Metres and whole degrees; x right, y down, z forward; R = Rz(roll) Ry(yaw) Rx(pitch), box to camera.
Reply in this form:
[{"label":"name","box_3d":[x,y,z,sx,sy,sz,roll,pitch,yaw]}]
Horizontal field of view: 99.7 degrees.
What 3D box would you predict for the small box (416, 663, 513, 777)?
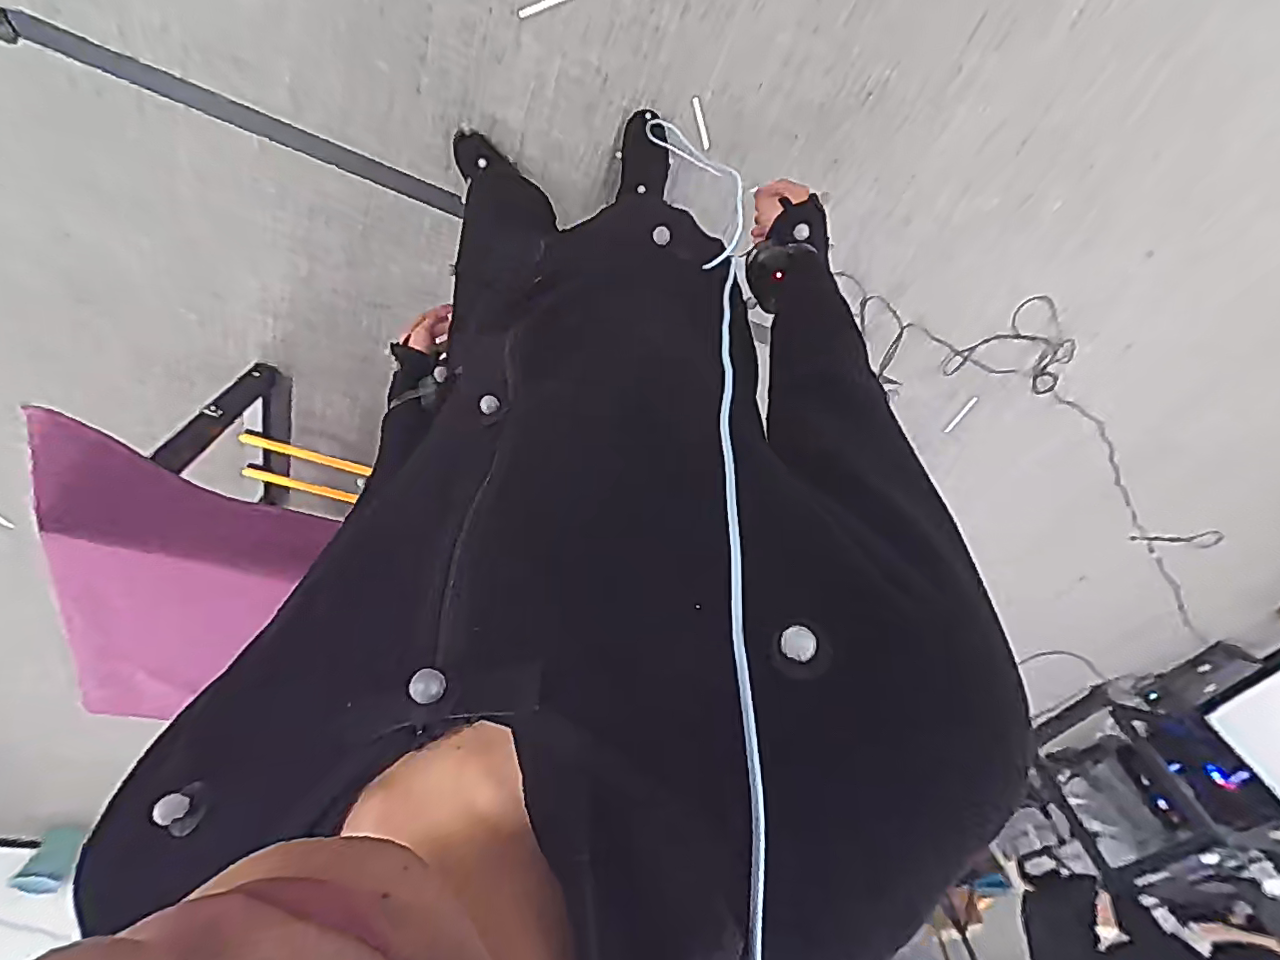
[{"label":"small box","box_3d":[-0.392,0.542,1.227,0.168,0.176,0.179,15,125,-15]}]
